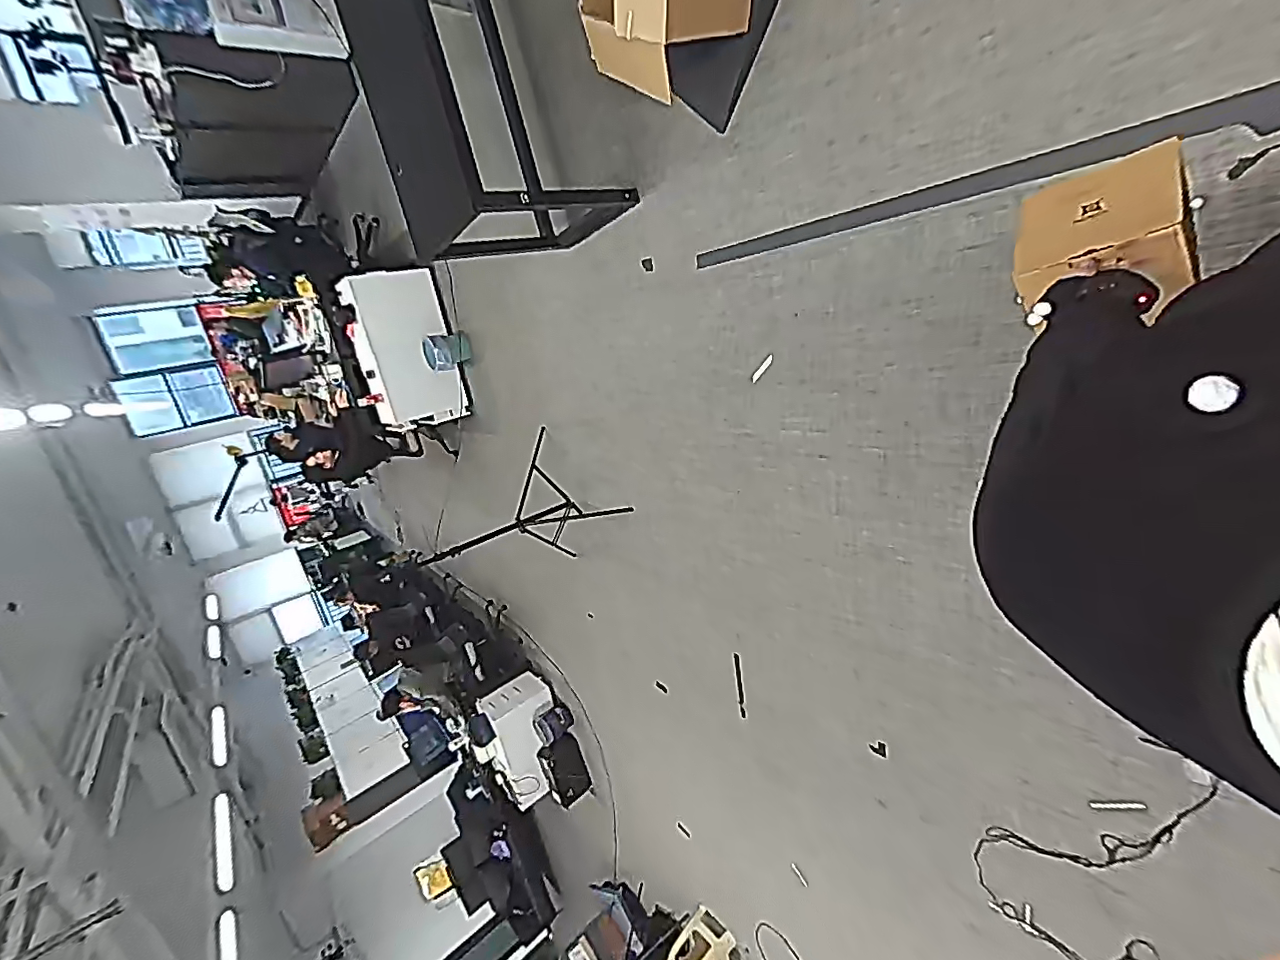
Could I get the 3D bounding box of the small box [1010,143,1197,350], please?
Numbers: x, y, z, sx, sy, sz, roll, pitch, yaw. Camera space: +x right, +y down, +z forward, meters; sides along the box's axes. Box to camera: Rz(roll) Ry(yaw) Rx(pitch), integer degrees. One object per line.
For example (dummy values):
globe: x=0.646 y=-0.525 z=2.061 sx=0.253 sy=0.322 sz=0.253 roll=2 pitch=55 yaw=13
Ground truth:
small box: x=0.637 y=-0.302 z=0.744 sx=0.176 sy=0.179 sz=0.168 roll=41 pitch=151 yaw=-30
